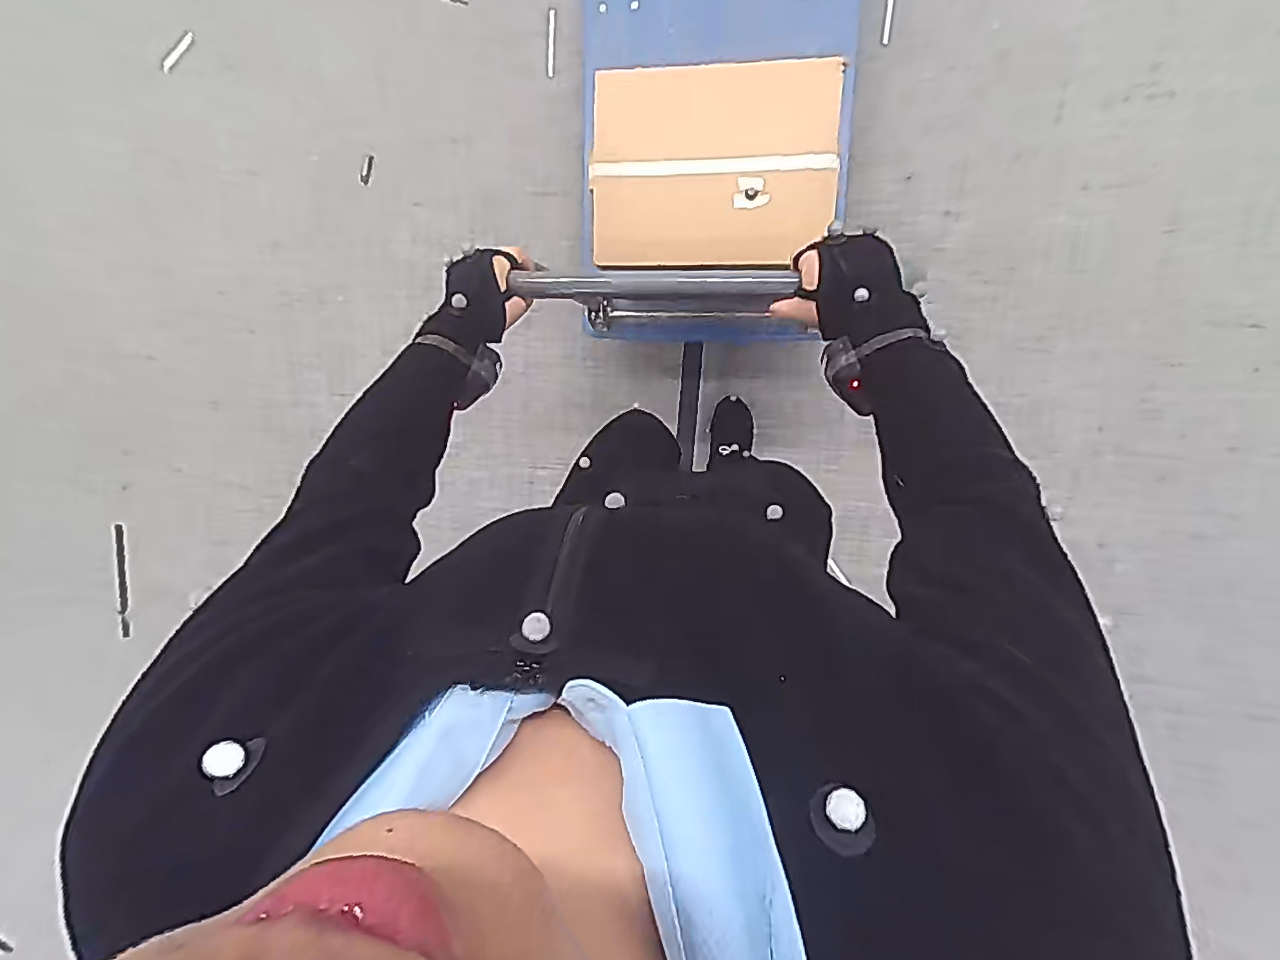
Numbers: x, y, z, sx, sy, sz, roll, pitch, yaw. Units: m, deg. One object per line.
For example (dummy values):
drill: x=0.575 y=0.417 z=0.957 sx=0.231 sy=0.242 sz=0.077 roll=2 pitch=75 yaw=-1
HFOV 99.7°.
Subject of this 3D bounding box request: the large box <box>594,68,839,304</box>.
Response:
large box: x=0.135 y=-0.529 z=1.048 sx=0.408 sy=0.320 sz=0.320 roll=2 pitch=99 yaw=7
